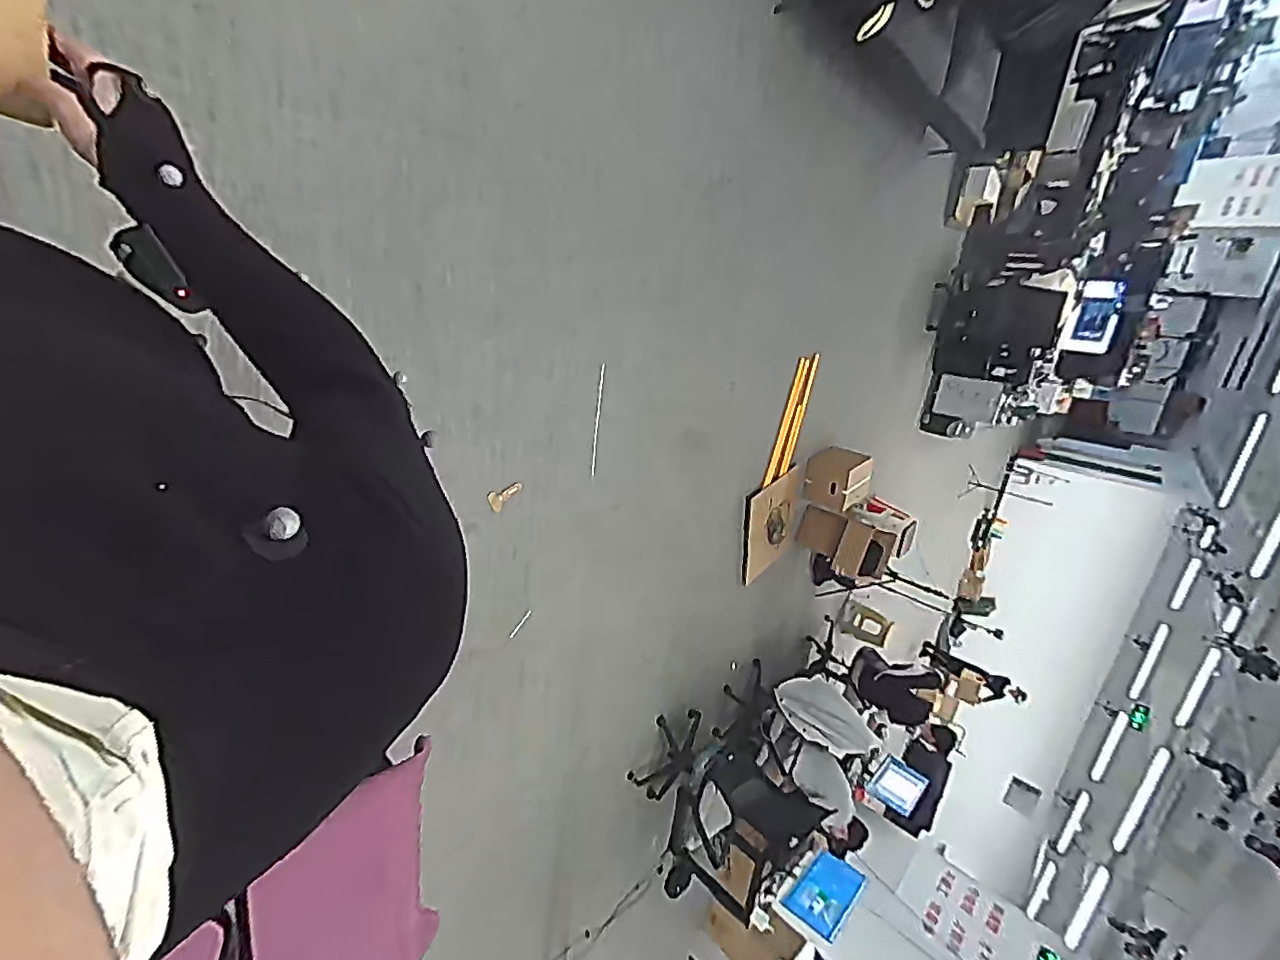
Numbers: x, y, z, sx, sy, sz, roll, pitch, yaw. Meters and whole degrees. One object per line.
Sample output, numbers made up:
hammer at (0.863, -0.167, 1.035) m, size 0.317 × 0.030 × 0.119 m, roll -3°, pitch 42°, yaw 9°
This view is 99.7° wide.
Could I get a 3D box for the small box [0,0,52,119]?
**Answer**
small box at (-0.588, -0.413, 0.421) m, size 0.168 × 0.176 × 0.179 m, roll -4°, pitch 116°, yaw -49°
